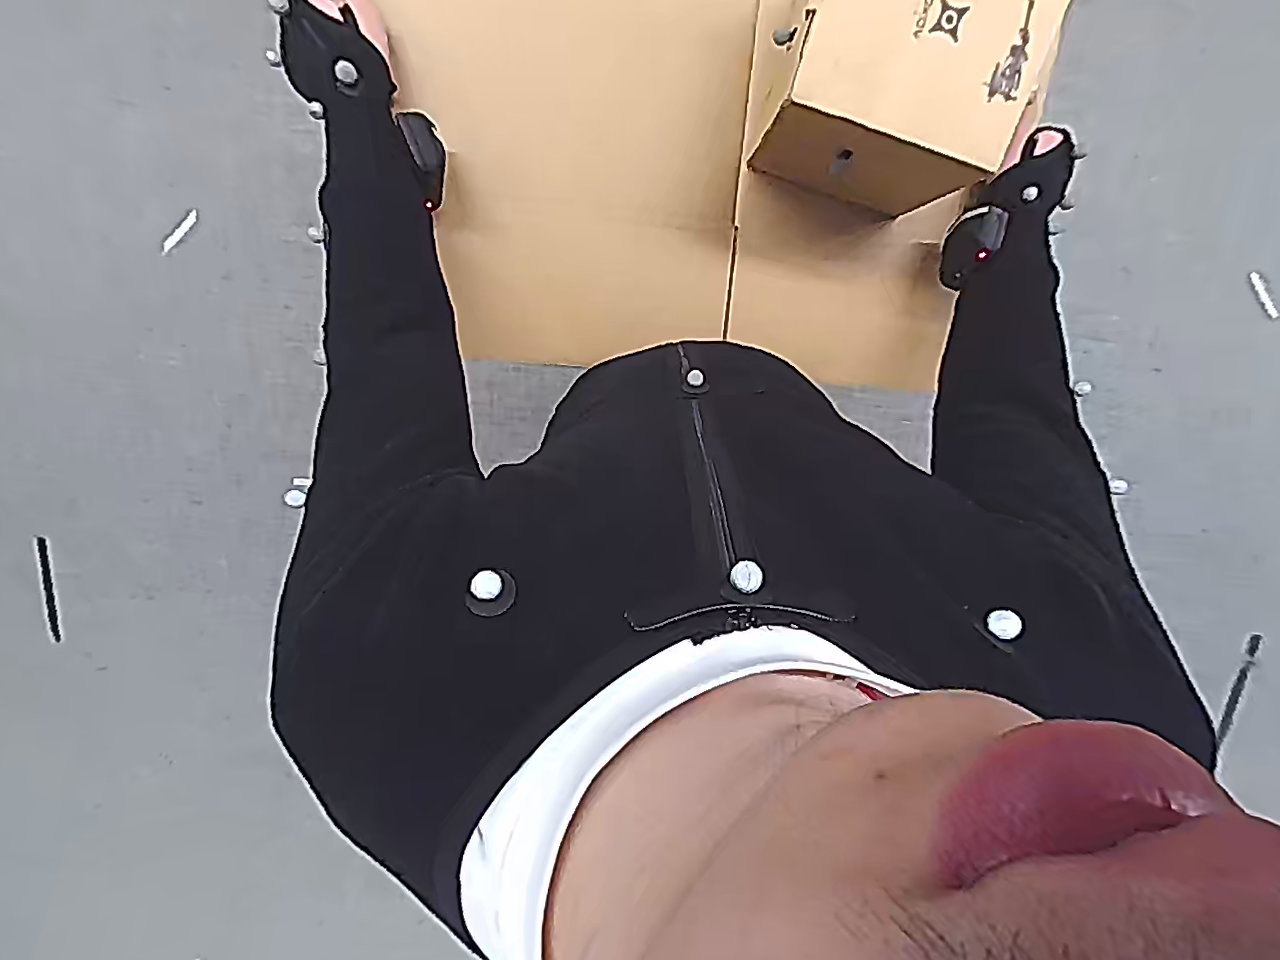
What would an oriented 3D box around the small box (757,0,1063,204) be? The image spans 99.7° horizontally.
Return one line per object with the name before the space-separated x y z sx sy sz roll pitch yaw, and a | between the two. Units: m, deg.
small box | 0.218 -0.365 0.473 0.179 0.176 0.168 17 105 -3
